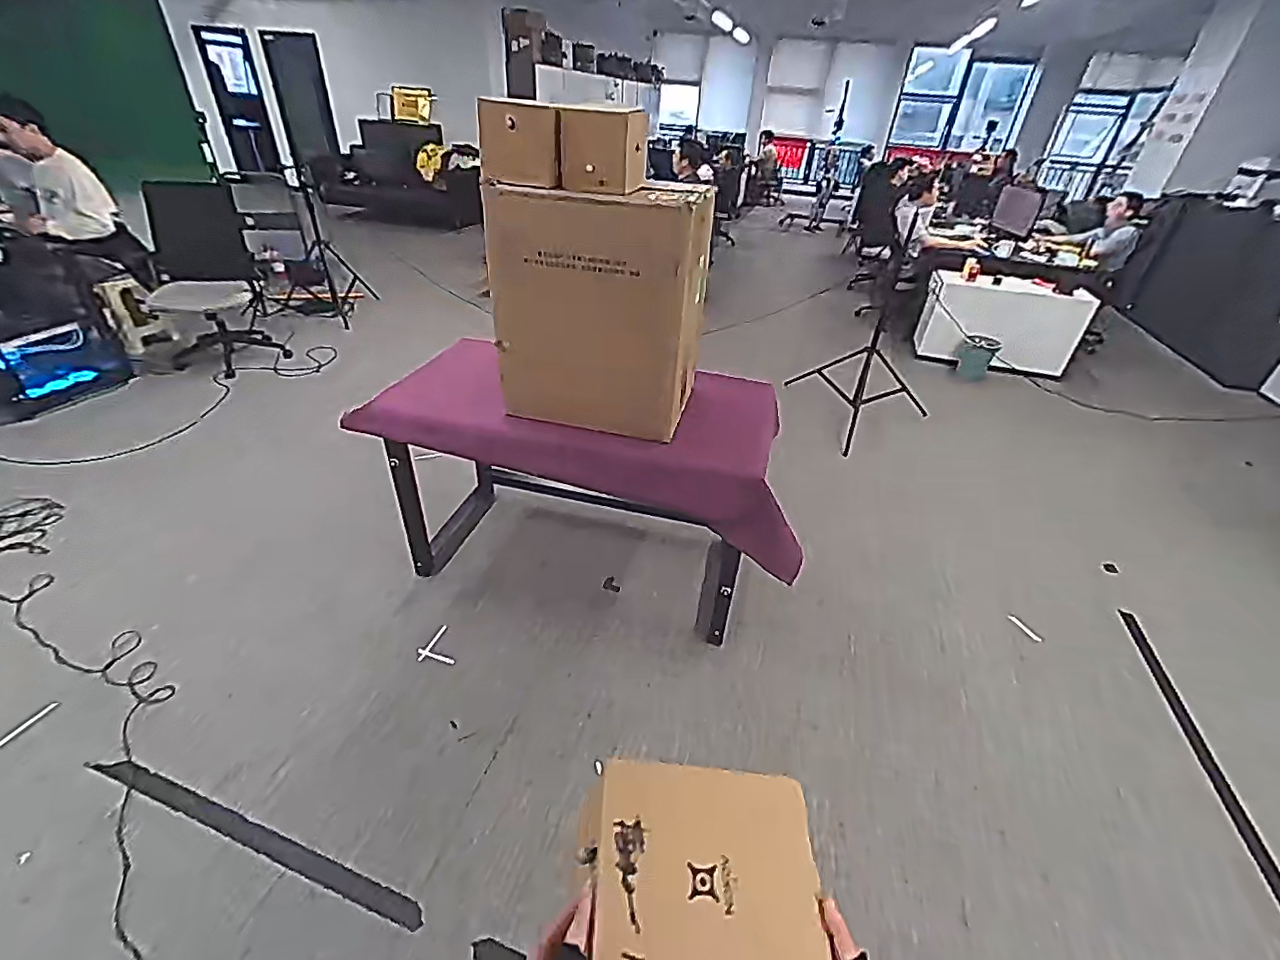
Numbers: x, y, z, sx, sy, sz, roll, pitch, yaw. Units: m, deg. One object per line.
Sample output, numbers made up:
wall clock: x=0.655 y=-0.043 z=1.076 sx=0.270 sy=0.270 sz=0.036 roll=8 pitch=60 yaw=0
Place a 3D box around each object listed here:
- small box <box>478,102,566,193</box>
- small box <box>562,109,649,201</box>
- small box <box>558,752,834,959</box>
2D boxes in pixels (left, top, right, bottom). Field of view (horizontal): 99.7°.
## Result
small box: x=-0.275 y=-0.808 z=1.317 sx=0.179 sy=0.176 sz=0.168 roll=12 pitch=36 yaw=6
small box: x=-0.083 y=-0.798 z=1.323 sx=0.168 sy=0.176 sz=0.179 roll=12 pitch=38 yaw=12
small box: x=0.035 y=0.357 z=0.449 sx=0.179 sy=0.176 sz=0.168 roll=12 pitch=37 yaw=-7
